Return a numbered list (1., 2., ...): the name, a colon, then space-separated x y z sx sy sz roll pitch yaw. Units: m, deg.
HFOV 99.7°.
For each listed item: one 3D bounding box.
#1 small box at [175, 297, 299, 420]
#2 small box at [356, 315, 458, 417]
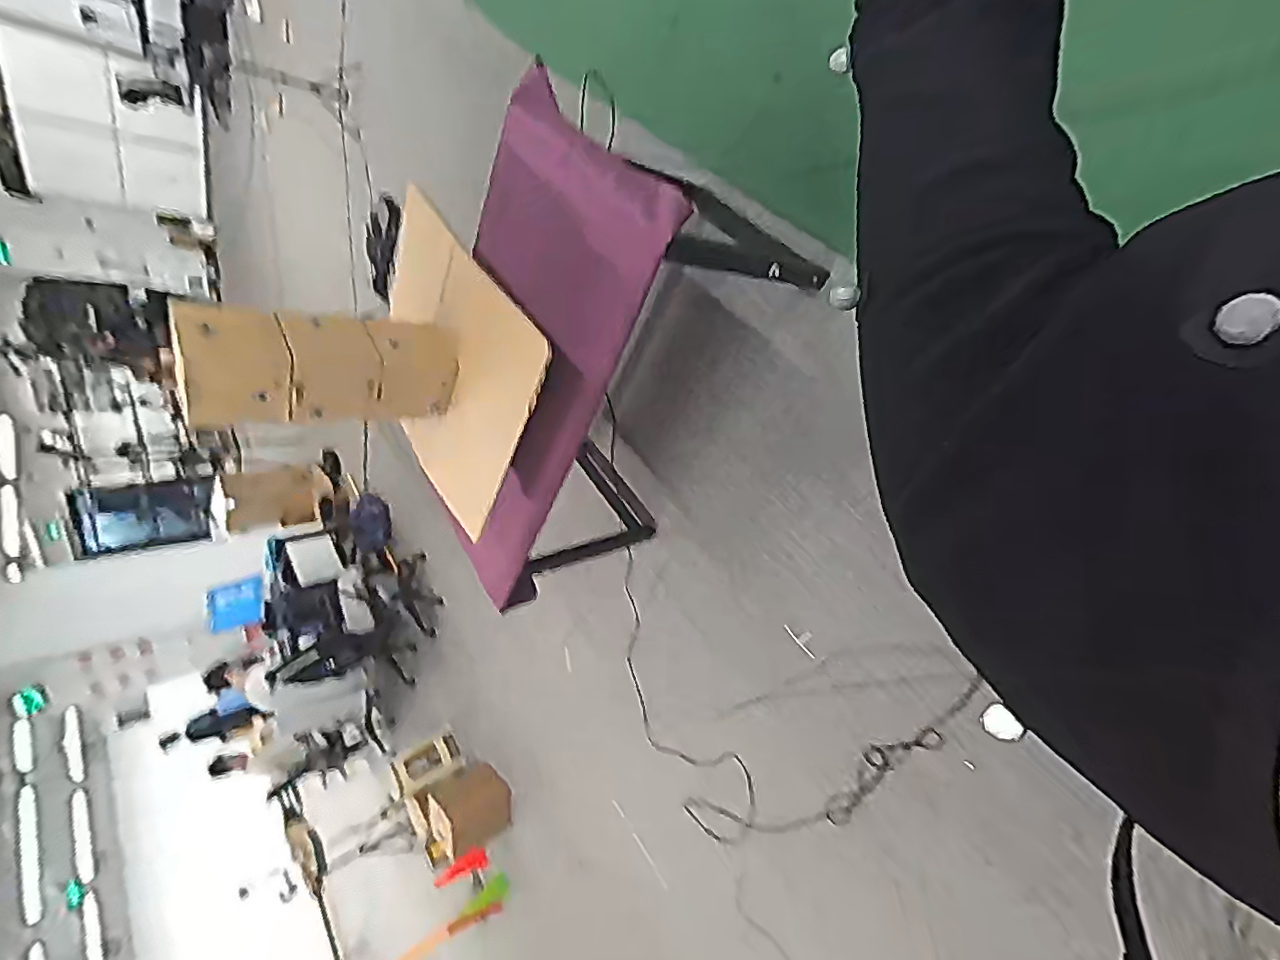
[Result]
1. small box: -0.797 -0.236 1.071 0.179 0.176 0.168 52 131 28
2. small box: -0.556 -0.273 1.291 0.179 0.176 0.168 54 132 27
